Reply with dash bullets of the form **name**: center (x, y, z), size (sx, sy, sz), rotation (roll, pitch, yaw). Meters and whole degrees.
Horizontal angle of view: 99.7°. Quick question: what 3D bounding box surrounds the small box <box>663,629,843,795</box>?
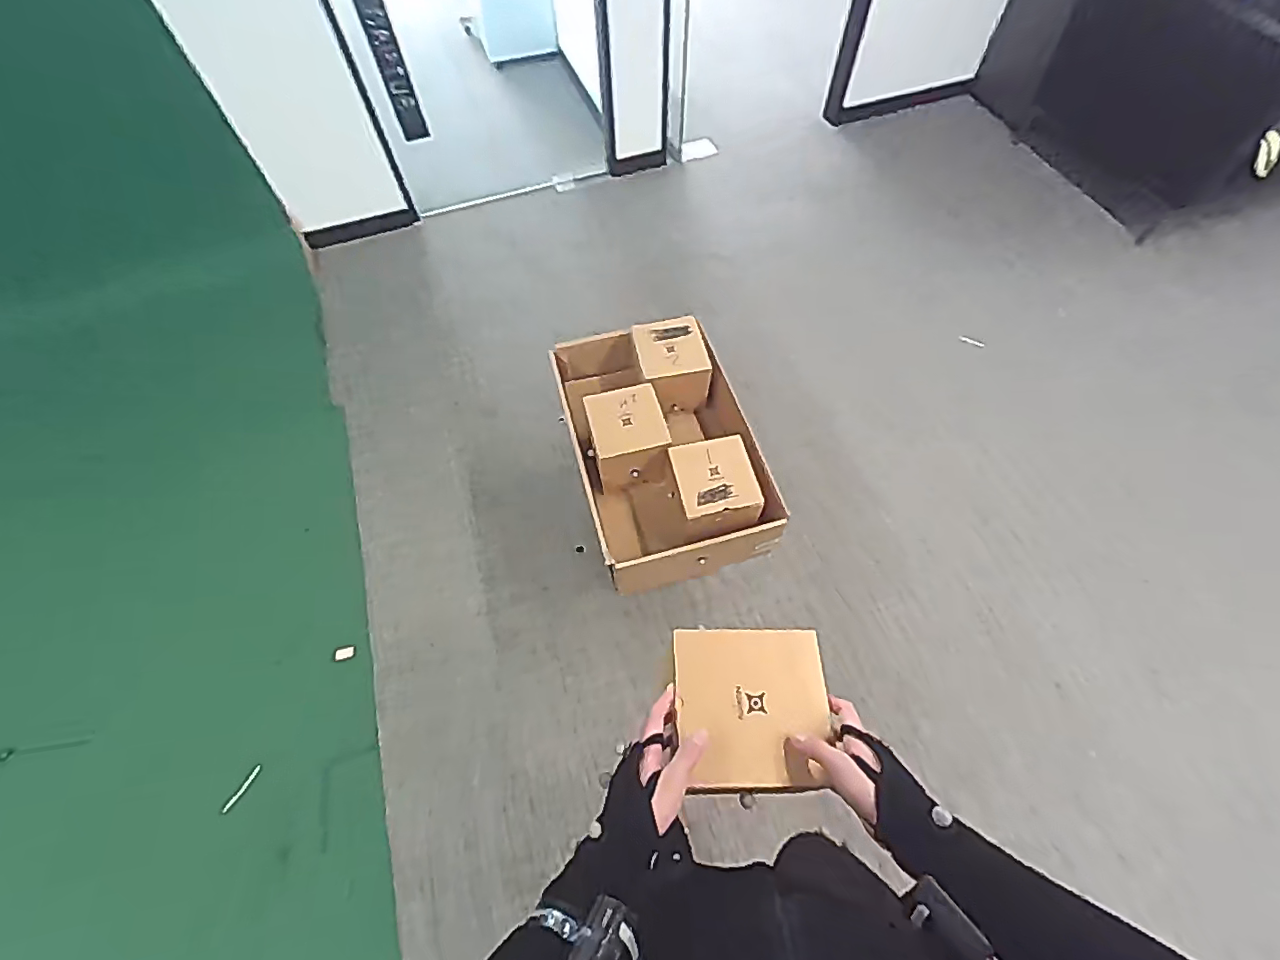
- **small box**: center (0.122, 0.287, 0.662), size (0.179, 0.176, 0.168), rotation (0, 59, -1)

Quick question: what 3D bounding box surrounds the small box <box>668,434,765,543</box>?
- **small box**: center (0.159, 0.028, 1.191), size (0.168, 0.176, 0.179), rotation (-11, 62, -5)

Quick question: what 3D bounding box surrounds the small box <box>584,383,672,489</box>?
- **small box**: center (-0.027, -0.095, 1.262), size (0.168, 0.176, 0.179), rotation (-13, 62, -7)
